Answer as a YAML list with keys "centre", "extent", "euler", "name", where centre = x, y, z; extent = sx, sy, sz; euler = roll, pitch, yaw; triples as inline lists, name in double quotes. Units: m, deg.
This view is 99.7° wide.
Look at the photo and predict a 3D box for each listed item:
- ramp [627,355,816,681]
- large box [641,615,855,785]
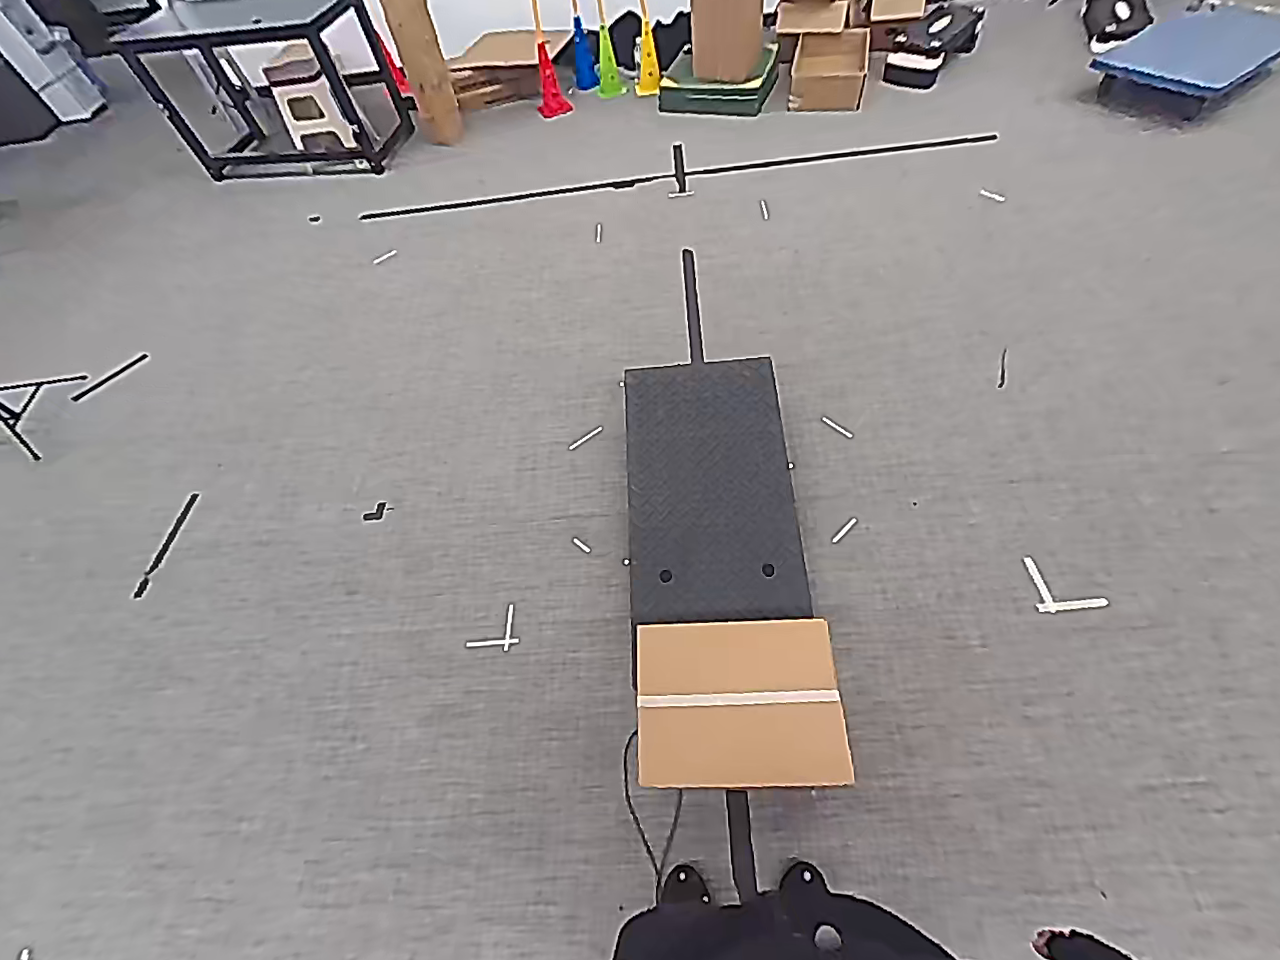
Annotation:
- centre: [0.218, 0.061, 1.611]
  extent: [0.509, 0.206, 0.991]
  euler: [-5, 56, 3]
  name: "ramp"
- centre: [0.222, 0.511, 1.228]
  extent: [0.408, 0.320, 0.320]
  euler: [-4, 59, 5]
  name: "large box"
